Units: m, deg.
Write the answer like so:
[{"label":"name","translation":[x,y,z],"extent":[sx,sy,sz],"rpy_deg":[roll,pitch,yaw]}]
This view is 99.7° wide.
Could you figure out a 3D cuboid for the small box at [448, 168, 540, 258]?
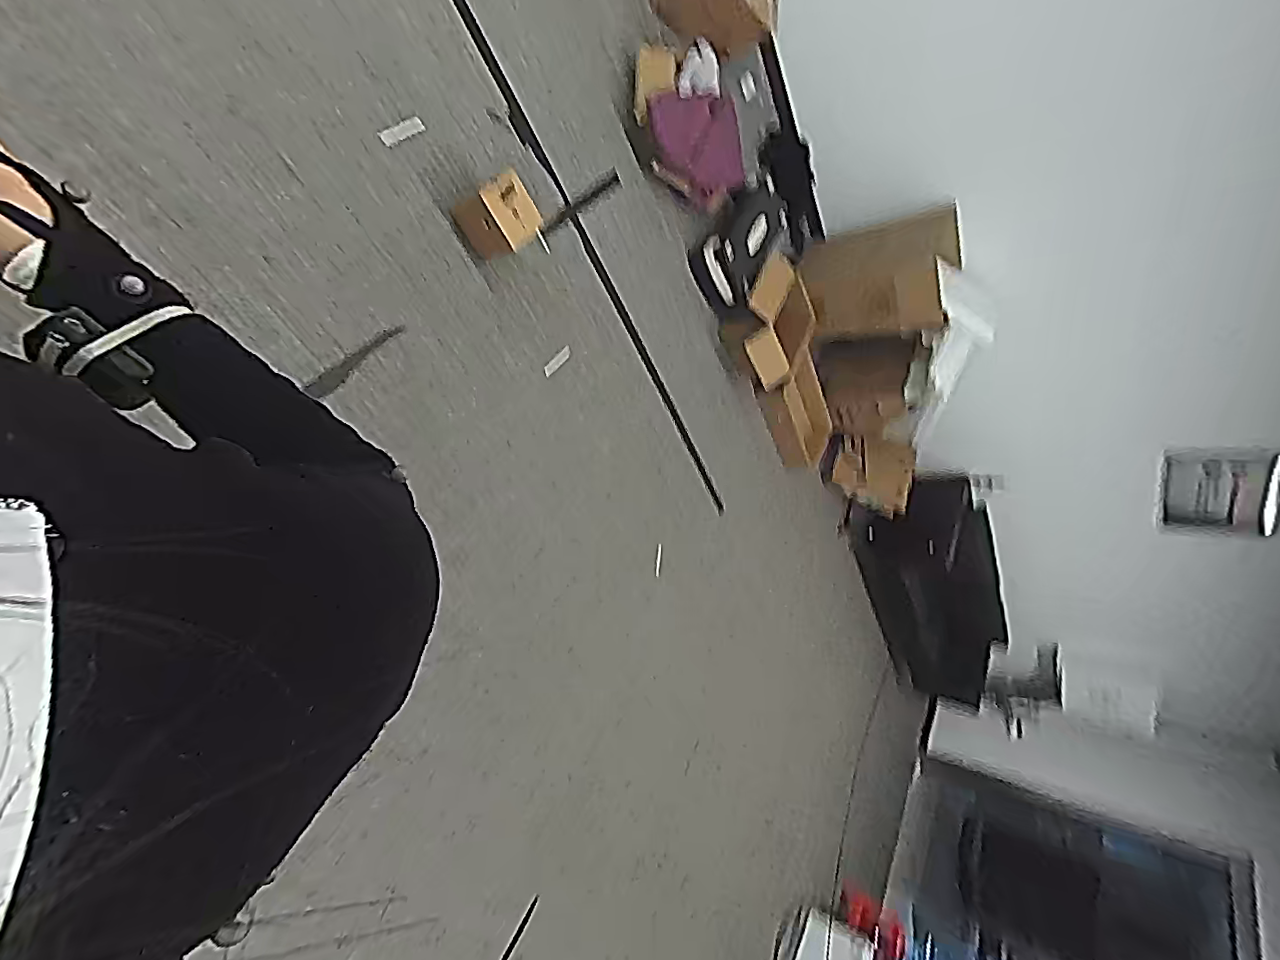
[{"label":"small box","translation":[-0.449,-0.811,1.657],"extent":[0.168,0.176,0.179],"rpy_deg":[-57,132,-30]}]
